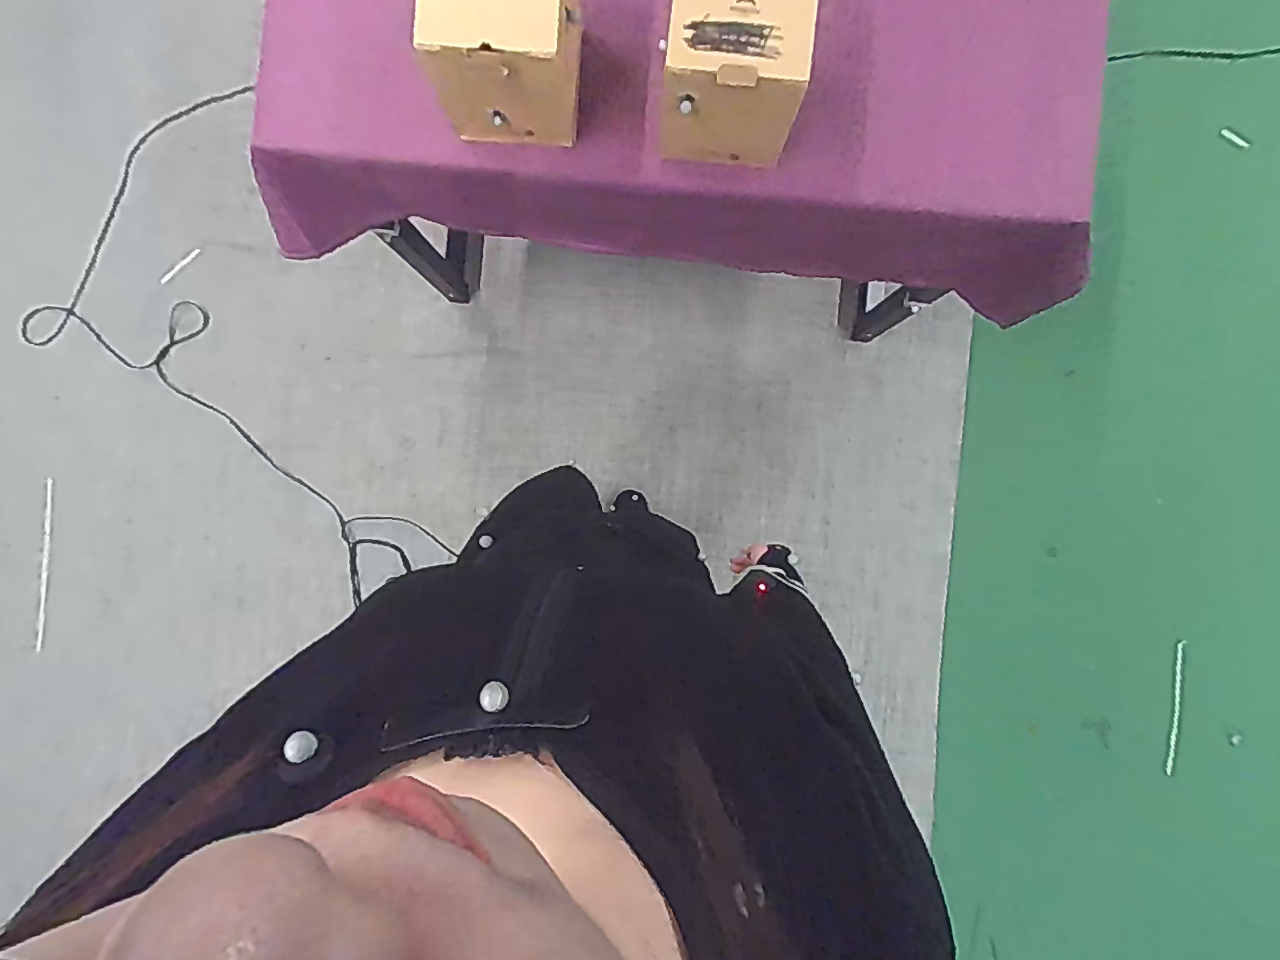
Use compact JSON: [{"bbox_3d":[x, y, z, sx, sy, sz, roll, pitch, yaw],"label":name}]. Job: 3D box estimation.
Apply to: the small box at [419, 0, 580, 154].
[{"bbox_3d":[-0.171,-0.571,0.712,0.168,0.176,0.179,4,90,0],"label":"small box"}]
